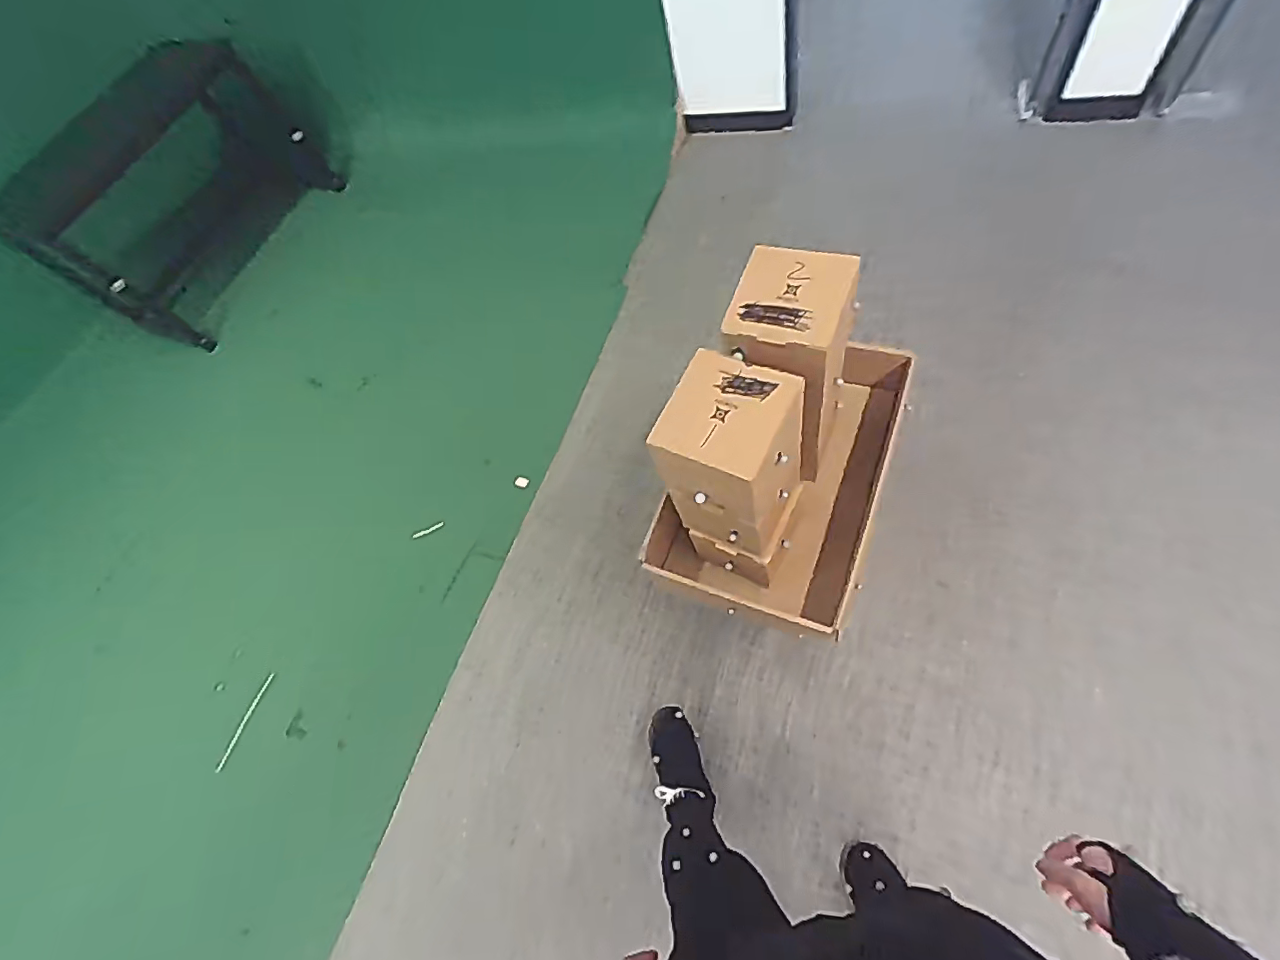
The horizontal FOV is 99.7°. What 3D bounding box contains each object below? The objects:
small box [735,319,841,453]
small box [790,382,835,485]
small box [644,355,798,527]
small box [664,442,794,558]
[{"bbox_3d":[0.275,-0.178,1.045,0.168,0.176,0.179,16,73,20],"label":"small box"},{"bbox_3d":[0.317,-0.115,1.187,0.168,0.176,0.179,15,71,22],"label":"small box"},{"bbox_3d":[0.129,-0.055,0.833,0.168,0.176,0.179,22,72,23],"label":"small box"},{"bbox_3d":[0.167,0.017,0.975,0.168,0.176,0.179,22,71,23],"label":"small box"}]
